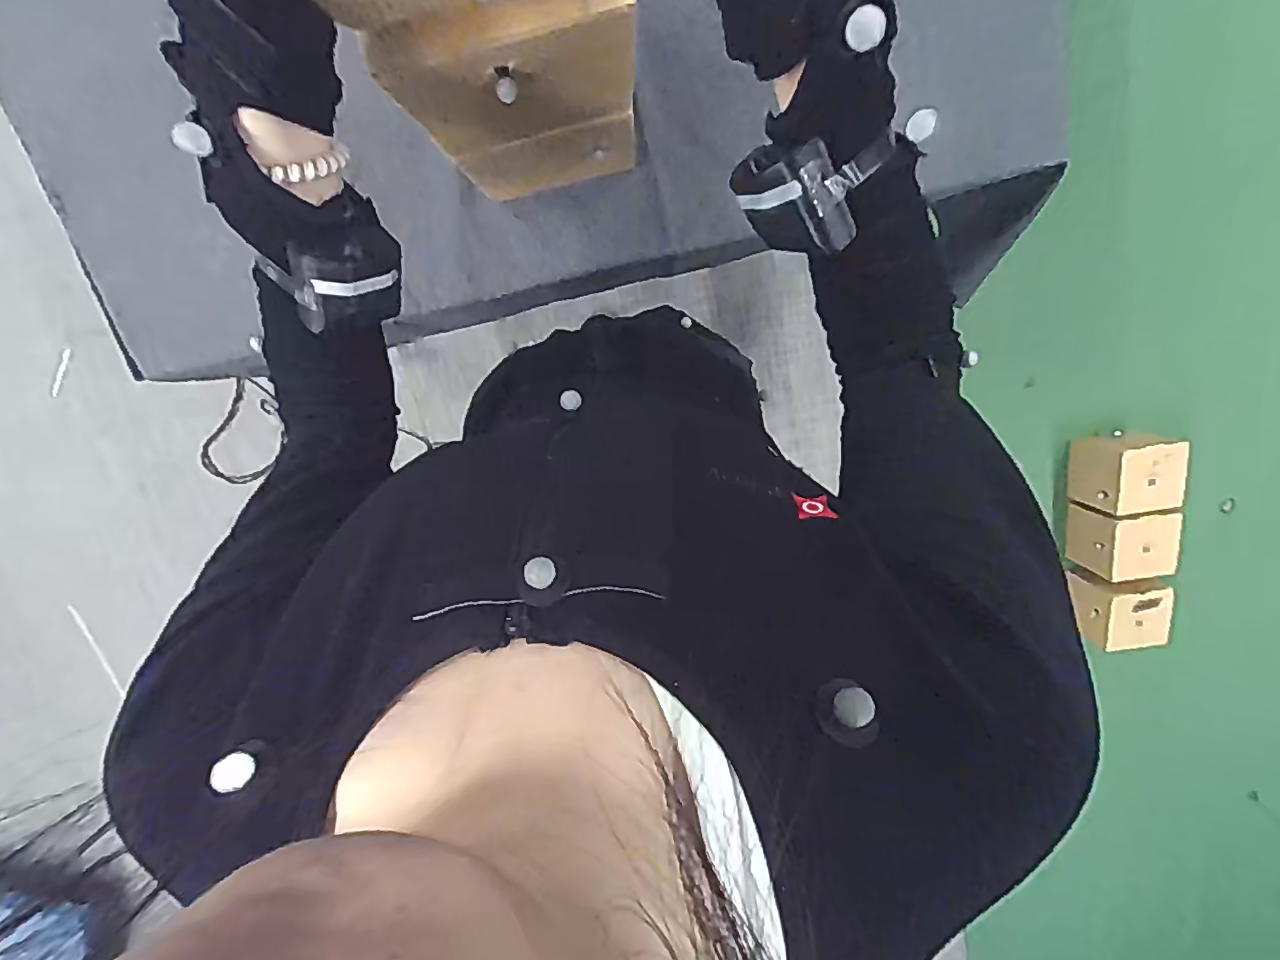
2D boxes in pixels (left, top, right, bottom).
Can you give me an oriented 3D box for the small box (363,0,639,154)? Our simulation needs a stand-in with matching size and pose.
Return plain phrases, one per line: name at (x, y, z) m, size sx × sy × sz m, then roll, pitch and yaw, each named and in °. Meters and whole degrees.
small box at (-0.105, -0.371, 0.399) m, size 0.179 × 0.176 × 0.168 m, roll -14°, pitch 105°, yaw 3°
